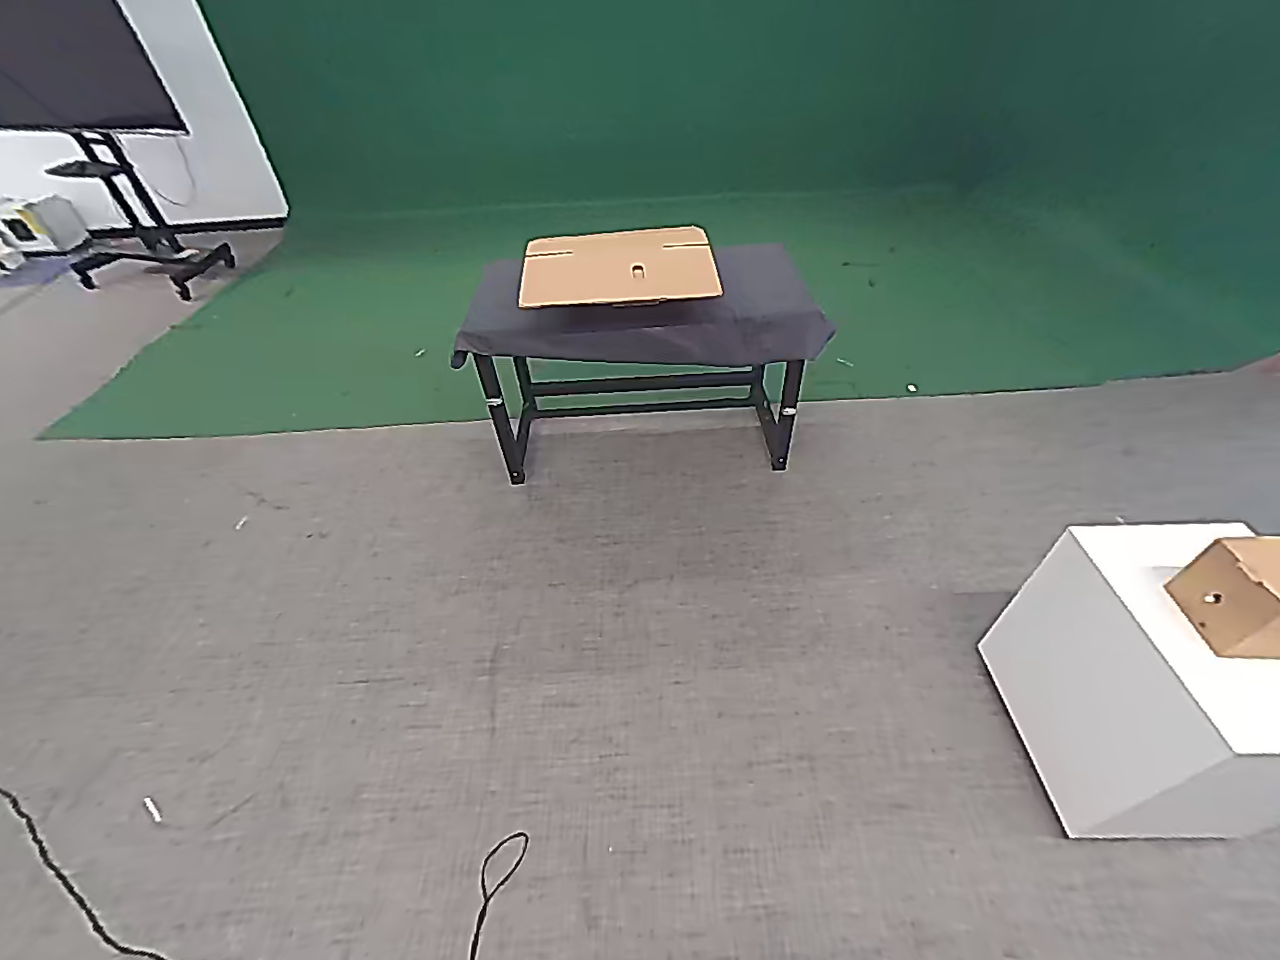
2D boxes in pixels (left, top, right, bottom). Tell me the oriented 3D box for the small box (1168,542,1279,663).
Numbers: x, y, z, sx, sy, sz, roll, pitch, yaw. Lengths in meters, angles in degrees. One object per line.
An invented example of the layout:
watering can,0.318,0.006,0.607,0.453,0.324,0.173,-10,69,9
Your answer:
small box,1.178,0.235,1.030,0.179,0.176,0.168,-1,43,1
